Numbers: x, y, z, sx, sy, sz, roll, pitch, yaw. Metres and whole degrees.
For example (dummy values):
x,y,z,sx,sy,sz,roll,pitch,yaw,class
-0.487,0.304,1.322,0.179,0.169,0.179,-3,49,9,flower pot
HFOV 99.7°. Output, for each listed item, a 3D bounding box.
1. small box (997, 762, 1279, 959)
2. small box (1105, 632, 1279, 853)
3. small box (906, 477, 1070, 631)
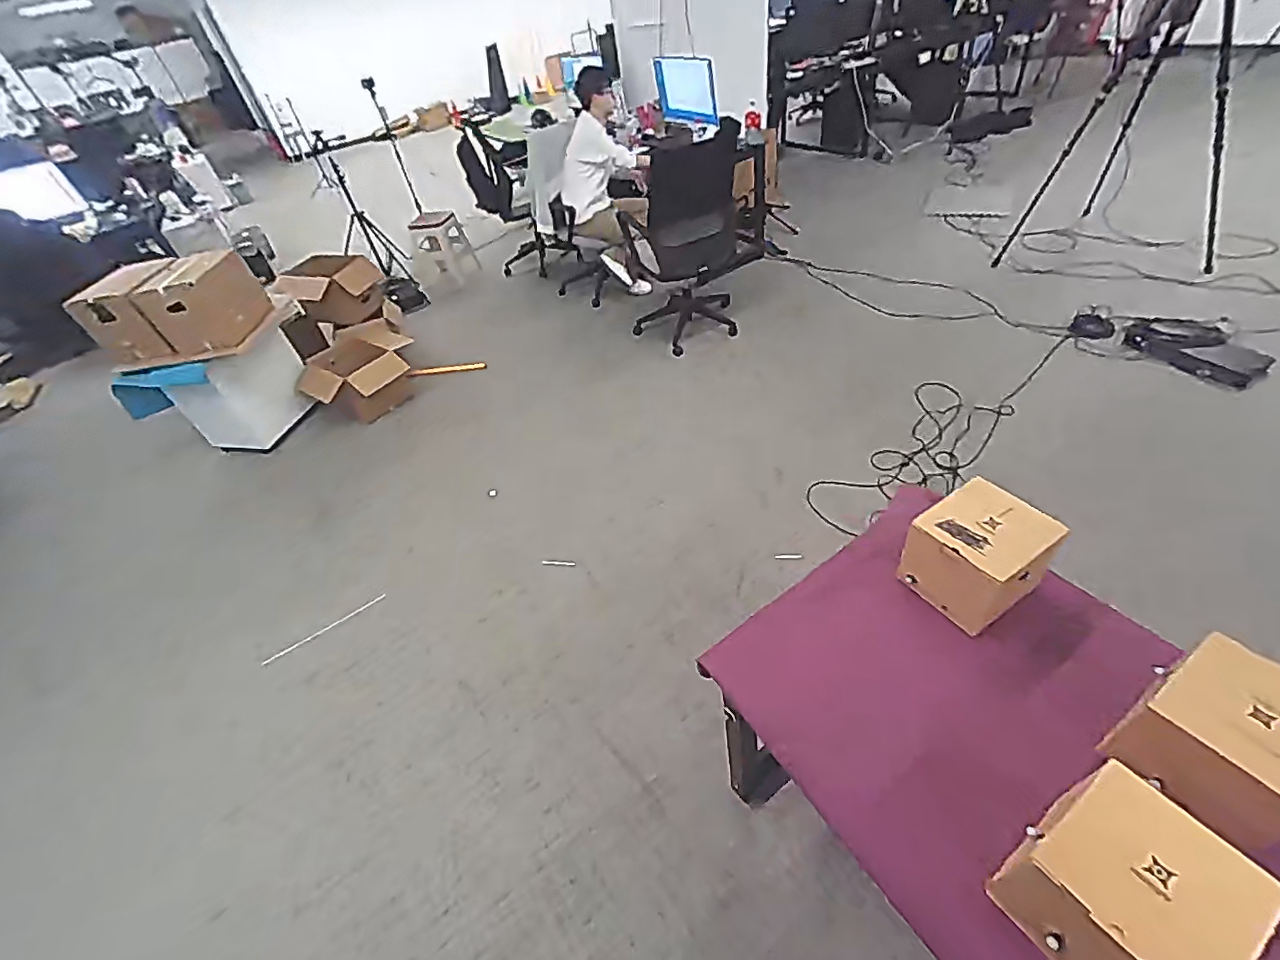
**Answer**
x,y,z,sx,sy,sz,roll,pitch,yaw,class
0.555,0.473,0.621,0.179,0.176,0.168,-30,47,-19,small box
0.772,0.344,0.712,0.179,0.176,0.168,-30,45,-17,small box
0.601,0.134,0.962,0.179,0.176,0.168,-29,46,-16,small box
